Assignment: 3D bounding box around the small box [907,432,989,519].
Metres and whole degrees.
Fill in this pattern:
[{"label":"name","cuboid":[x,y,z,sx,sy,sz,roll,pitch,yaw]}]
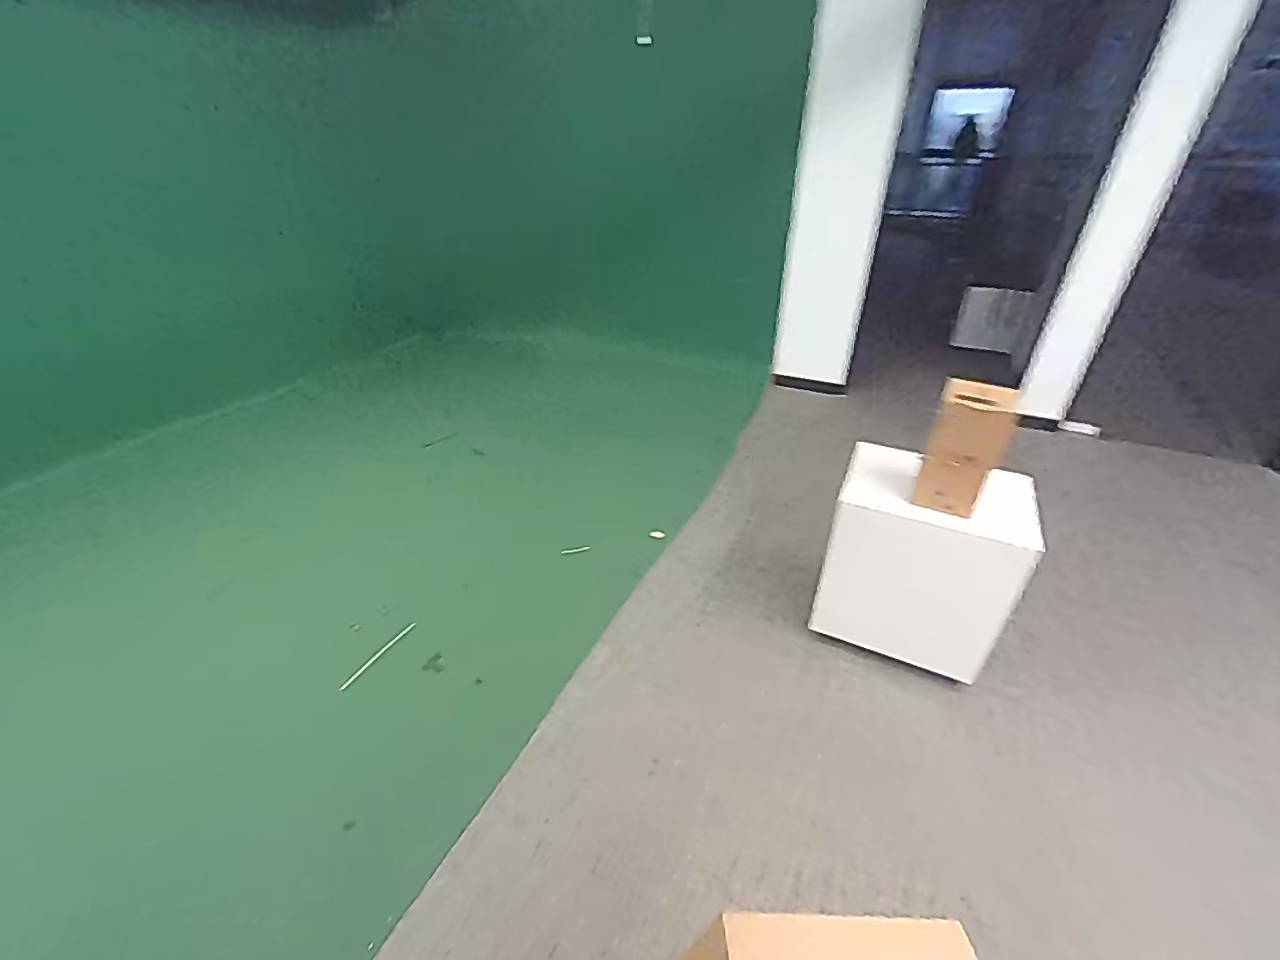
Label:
[{"label":"small box","cuboid":[0.884,-0.015,1.556,0.168,0.176,0.179,16,35,25]}]
